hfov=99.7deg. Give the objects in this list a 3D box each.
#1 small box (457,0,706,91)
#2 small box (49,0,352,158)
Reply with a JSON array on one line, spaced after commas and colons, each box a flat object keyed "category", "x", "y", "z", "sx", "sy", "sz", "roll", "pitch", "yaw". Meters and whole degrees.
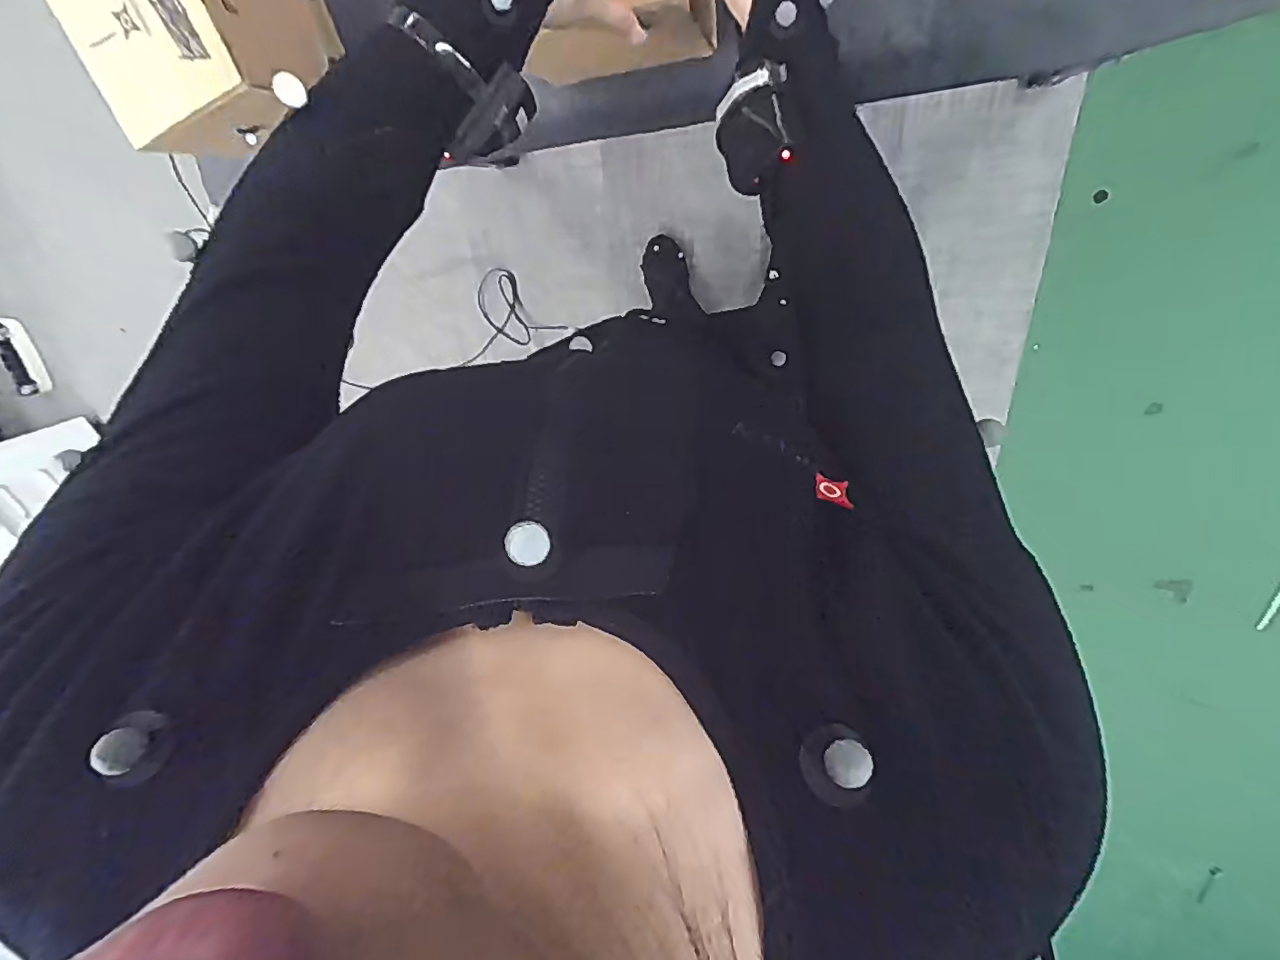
[{"category": "small box", "x": -0.045, "y": -0.450, "z": 0.452, "sx": 0.179, "sy": 0.176, "sz": 0.168, "roll": 1, "pitch": 115, "yaw": 14}, {"category": "small box", "x": -0.441, "y": -0.457, "z": 0.567, "sx": 0.179, "sy": 0.176, "sz": 0.168, "roll": -8, "pitch": 115, "yaw": 22}]
